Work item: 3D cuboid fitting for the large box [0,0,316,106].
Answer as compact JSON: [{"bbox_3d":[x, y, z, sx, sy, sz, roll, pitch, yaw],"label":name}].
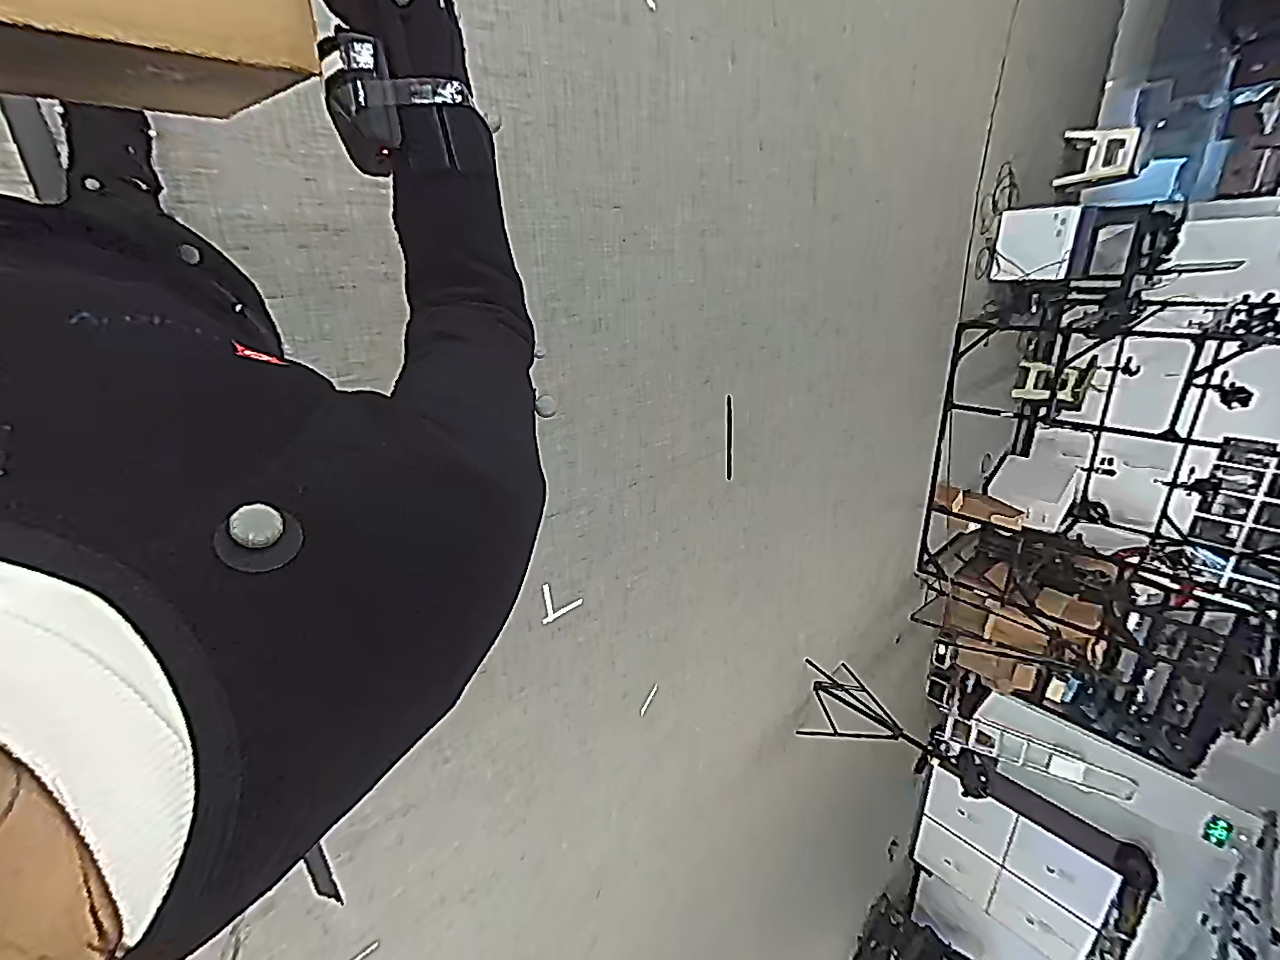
[{"bbox_3d":[-0.442,-0.384,0.238,0.408,0.320,0.320,-22,127,-39],"label":"large box"}]
